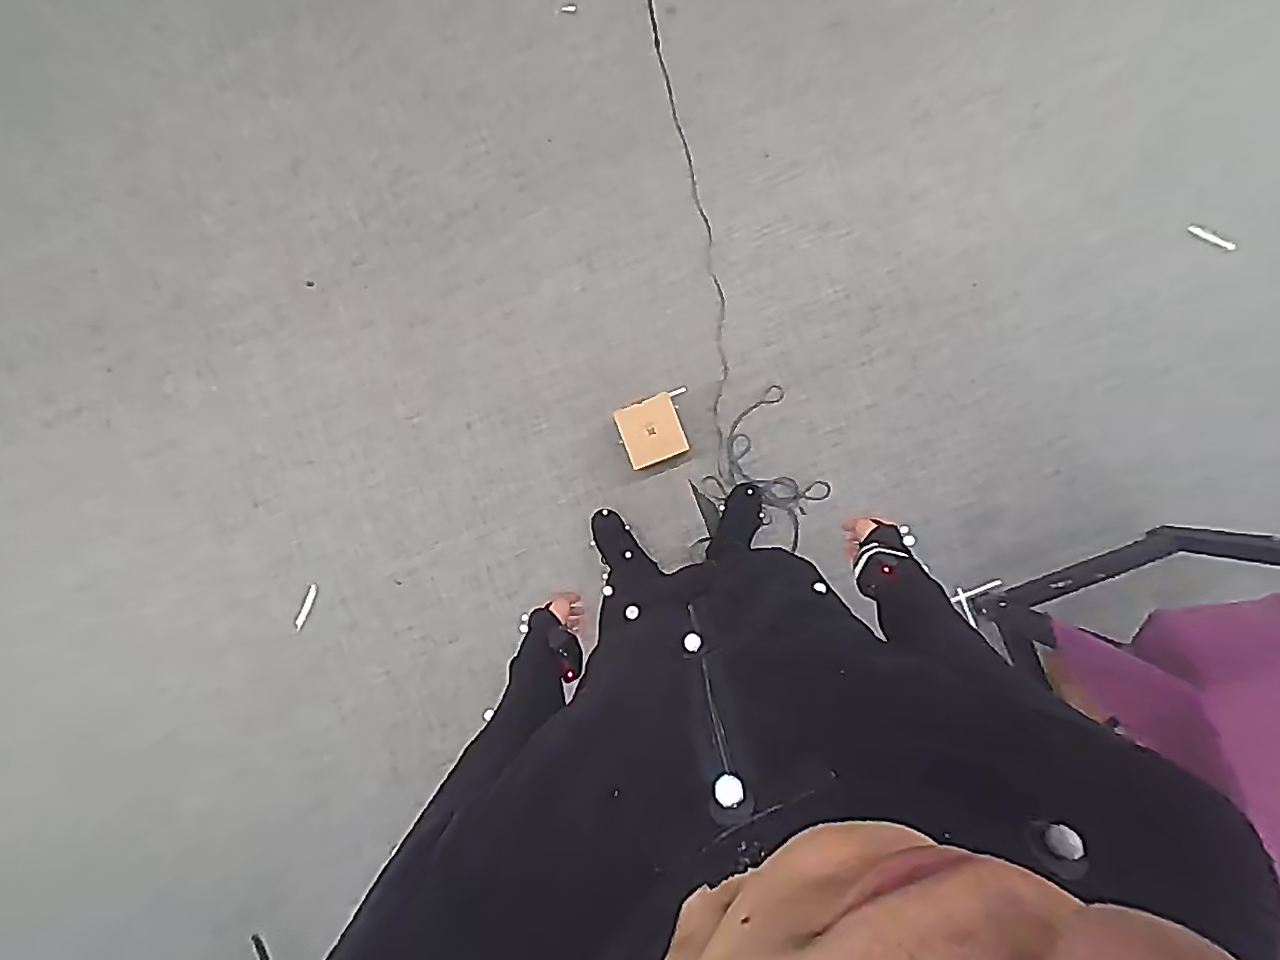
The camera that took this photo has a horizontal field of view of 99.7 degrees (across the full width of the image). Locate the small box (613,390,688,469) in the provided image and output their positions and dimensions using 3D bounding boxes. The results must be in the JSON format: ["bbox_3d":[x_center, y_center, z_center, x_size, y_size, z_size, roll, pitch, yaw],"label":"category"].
[{"bbox_3d":[0.033,-0.139,1.567,0.168,0.176,0.179,-21,89,5],"label":"small box"}]
